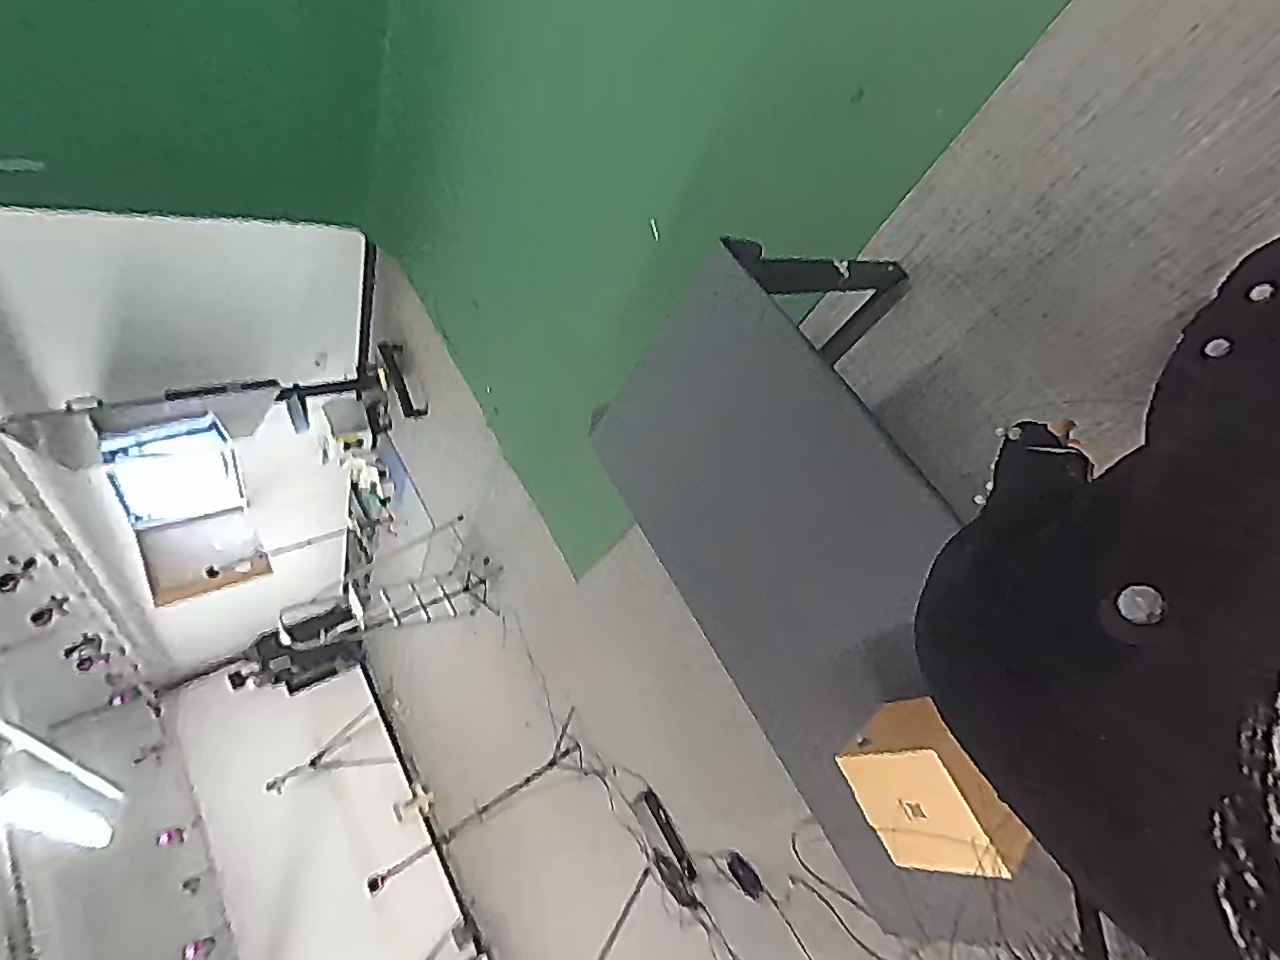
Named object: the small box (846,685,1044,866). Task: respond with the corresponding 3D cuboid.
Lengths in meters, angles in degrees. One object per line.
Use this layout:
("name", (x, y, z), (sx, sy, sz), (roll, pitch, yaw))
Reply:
("small box", (0.451, 0.424, 0.795), (0.168, 0.176, 0.179), (61, 142, 13))
